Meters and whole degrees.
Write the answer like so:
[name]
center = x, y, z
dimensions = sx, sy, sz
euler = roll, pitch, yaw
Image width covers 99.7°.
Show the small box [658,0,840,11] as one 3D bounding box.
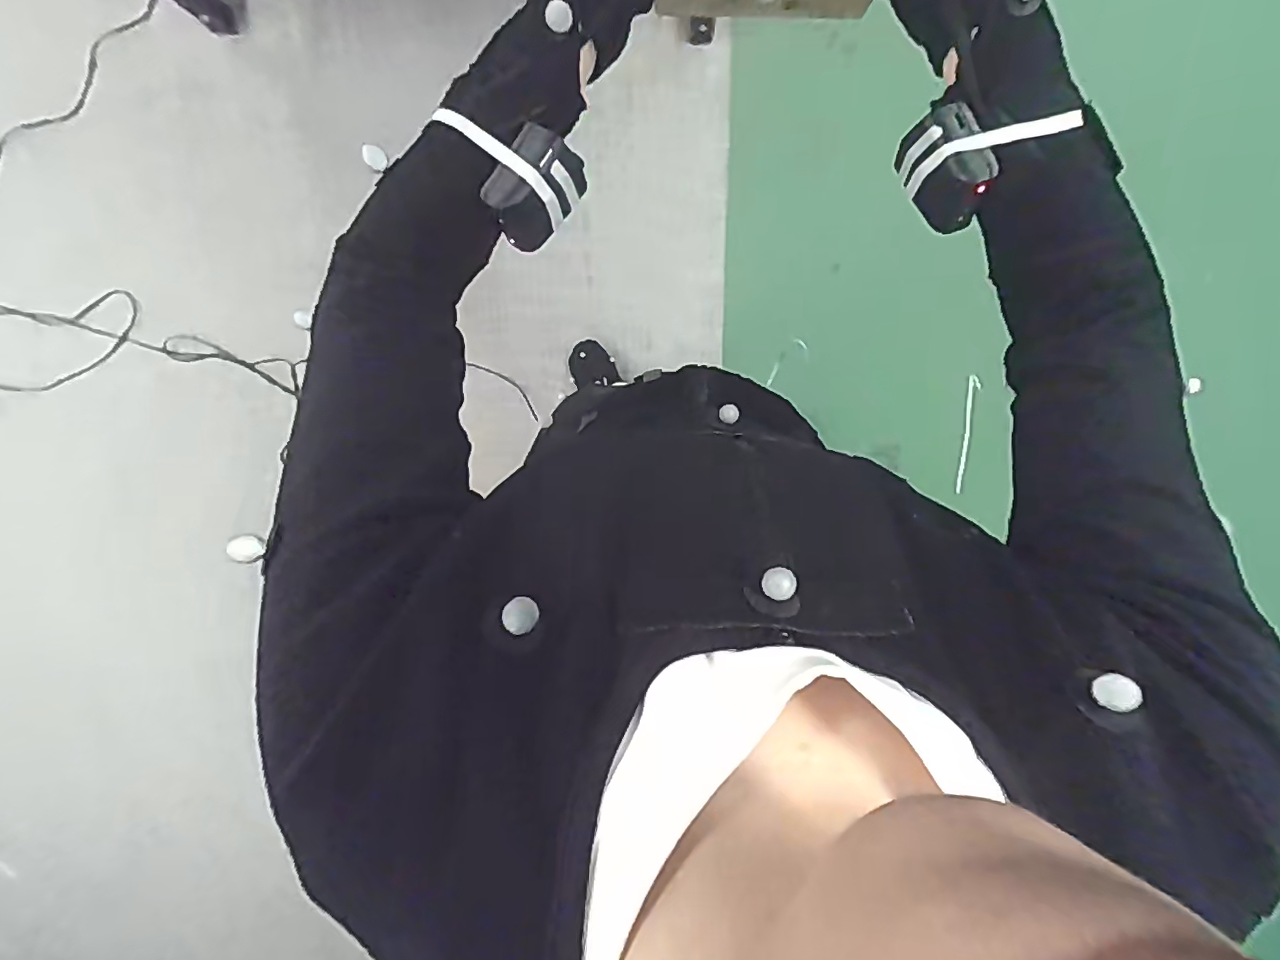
[small box]
center = 0.080, -0.434, 0.323
dimensions = 0.168, 0.176, 0.179
euler = 3, 106, 2
